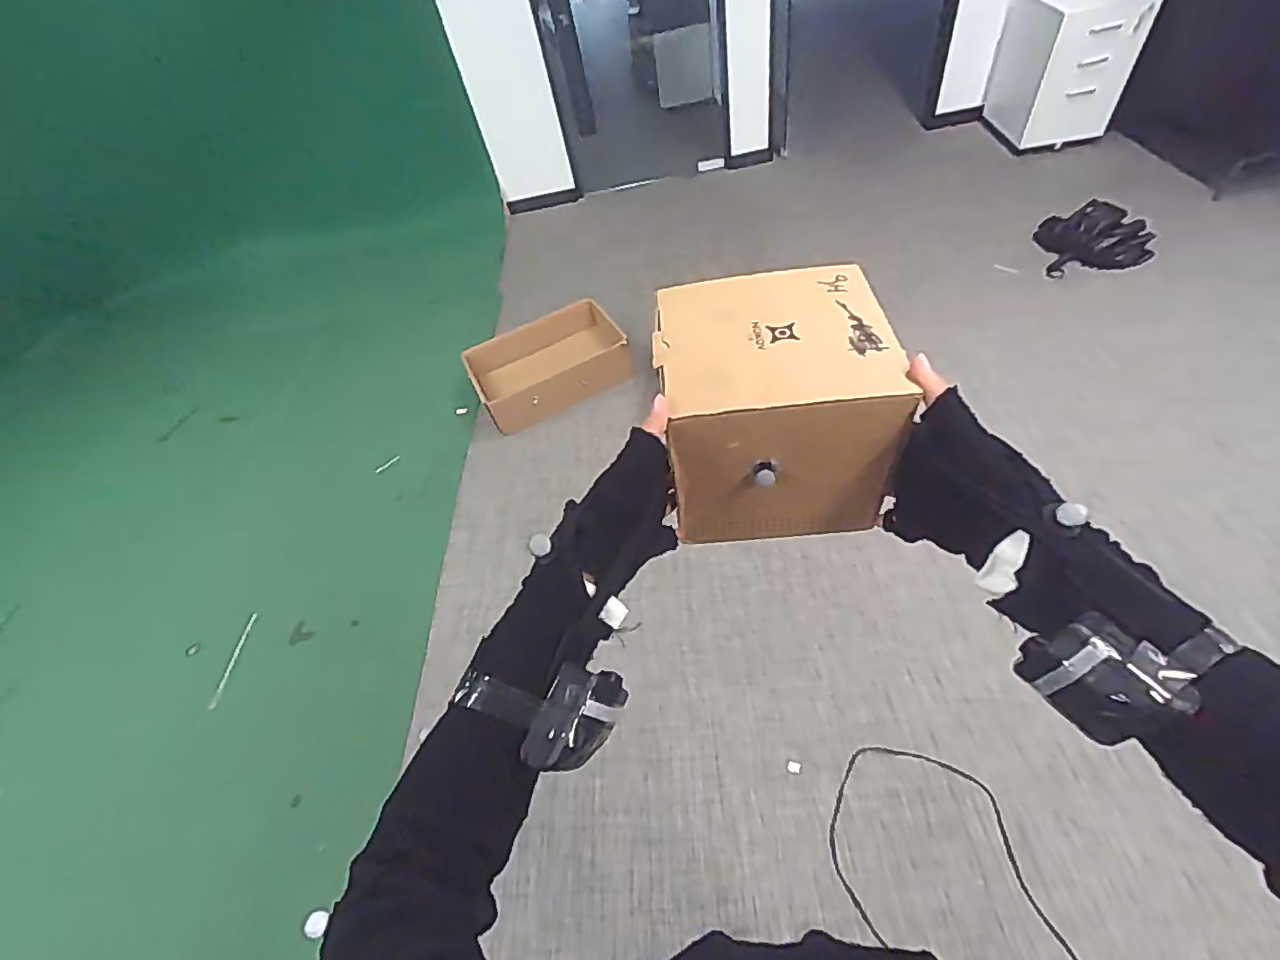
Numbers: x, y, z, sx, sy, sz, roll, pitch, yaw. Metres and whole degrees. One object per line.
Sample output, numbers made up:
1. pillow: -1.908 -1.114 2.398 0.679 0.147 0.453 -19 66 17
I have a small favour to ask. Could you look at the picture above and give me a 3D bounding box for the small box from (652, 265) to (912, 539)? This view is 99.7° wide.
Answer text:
1. small box: 0.110 -0.061 0.480 0.179 0.176 0.168 -6 51 6
